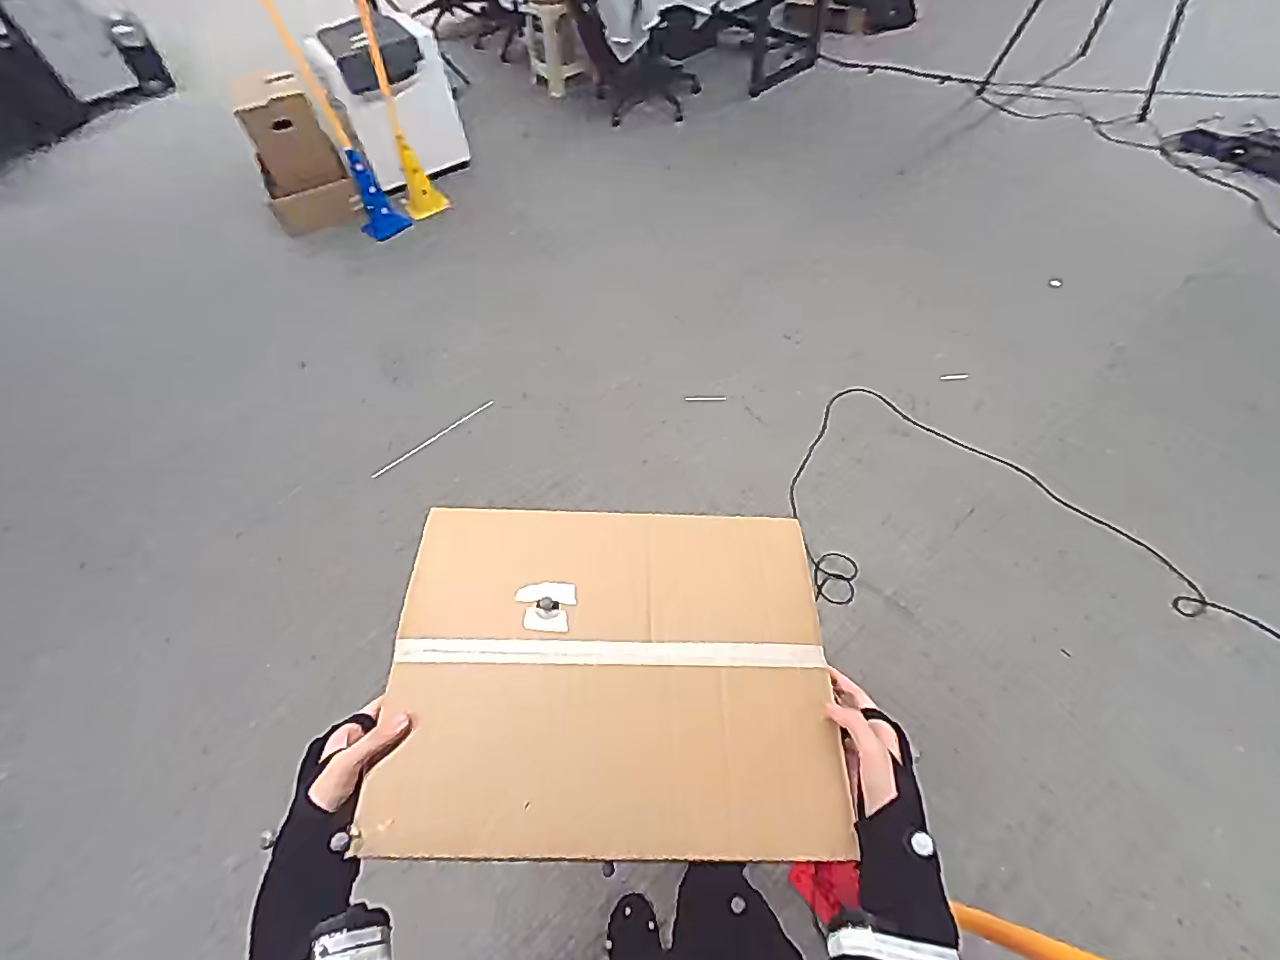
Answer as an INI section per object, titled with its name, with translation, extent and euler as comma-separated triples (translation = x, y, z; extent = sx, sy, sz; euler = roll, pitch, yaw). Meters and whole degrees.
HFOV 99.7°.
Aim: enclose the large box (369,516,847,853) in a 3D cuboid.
[large box]
translation = -0.027, 0.252, 0.650
extent = 0.408, 0.320, 0.320
euler = 2, 56, -1
